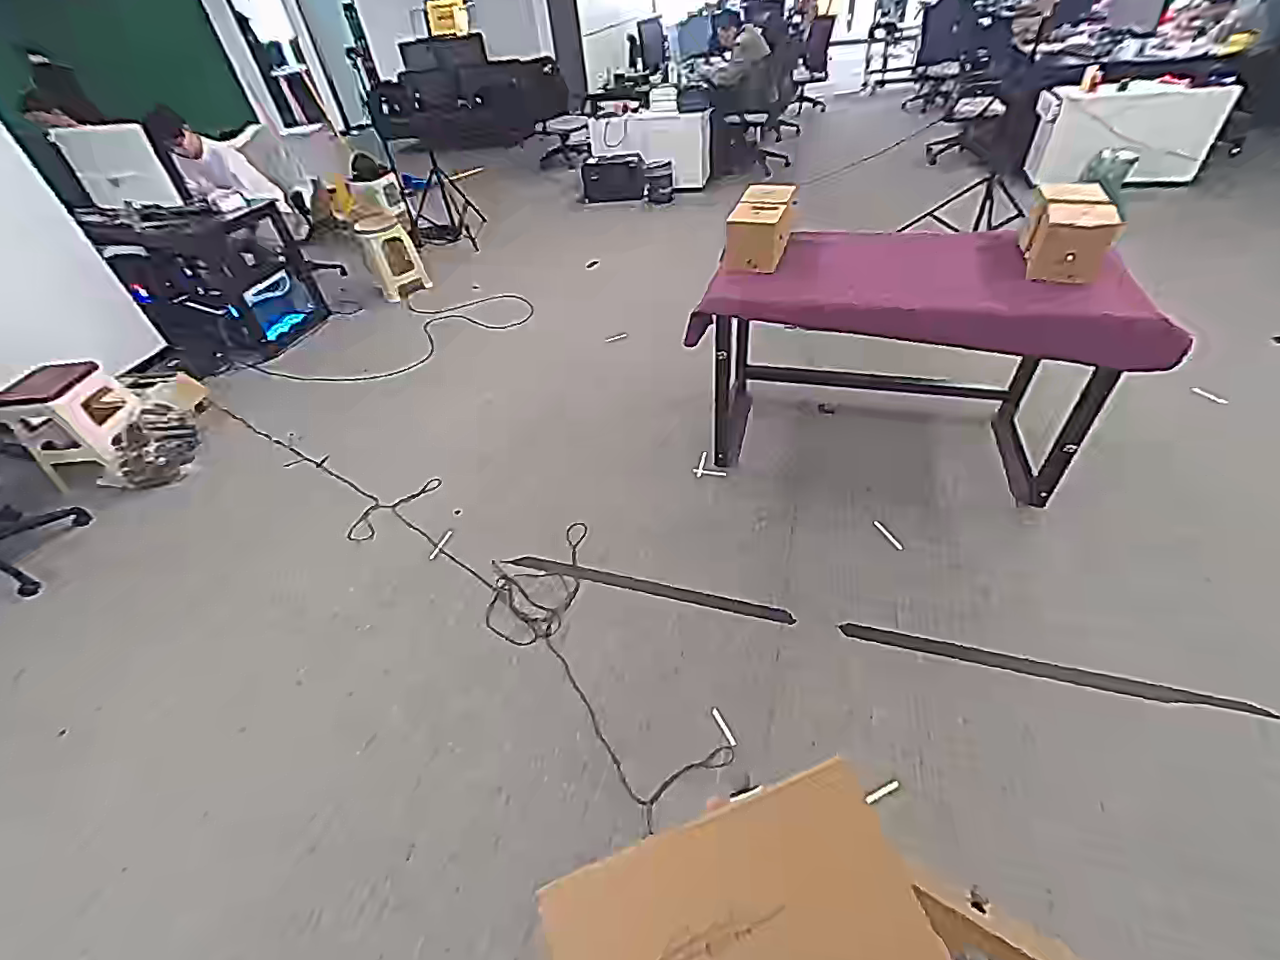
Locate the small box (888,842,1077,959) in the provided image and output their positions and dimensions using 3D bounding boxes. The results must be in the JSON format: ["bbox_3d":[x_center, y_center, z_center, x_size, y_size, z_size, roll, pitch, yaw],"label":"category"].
[{"bbox_3d":[0.201,0.376,0.377,0.179,0.176,0.168,19,73,29],"label":"small box"}]

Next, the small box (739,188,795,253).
[{"bbox_3d":[0.461,-0.950,1.977,0.168,0.176,0.179,11,47,19],"label":"small box"}]

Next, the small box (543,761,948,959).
[{"bbox_3d":[0.077,0.269,0.285,0.168,0.176,0.179,-27,58,5],"label":"small box"}]

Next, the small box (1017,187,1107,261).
[{"bbox_3d":[1.336,-0.819,1.727,0.168,0.176,0.179,12,45,18],"label":"small box"}]
